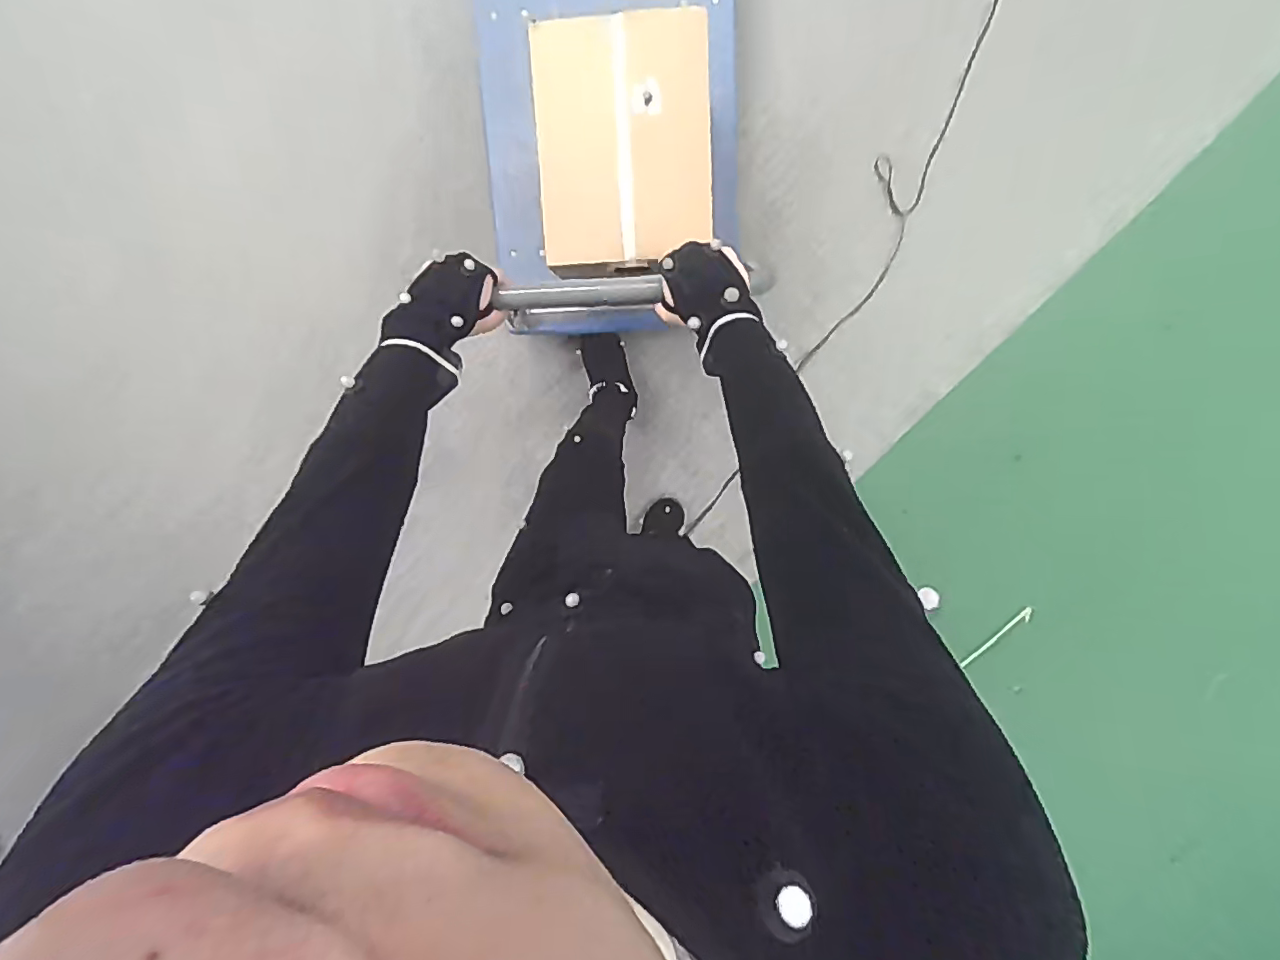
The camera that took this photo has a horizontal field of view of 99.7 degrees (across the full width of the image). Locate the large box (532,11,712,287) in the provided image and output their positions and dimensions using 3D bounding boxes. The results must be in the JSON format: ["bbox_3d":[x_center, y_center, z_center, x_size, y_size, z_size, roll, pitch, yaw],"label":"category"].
[{"bbox_3d":[-0.022,-0.645,1.133,0.320,0.320,0.408,-2,101,2],"label":"large box"}]
